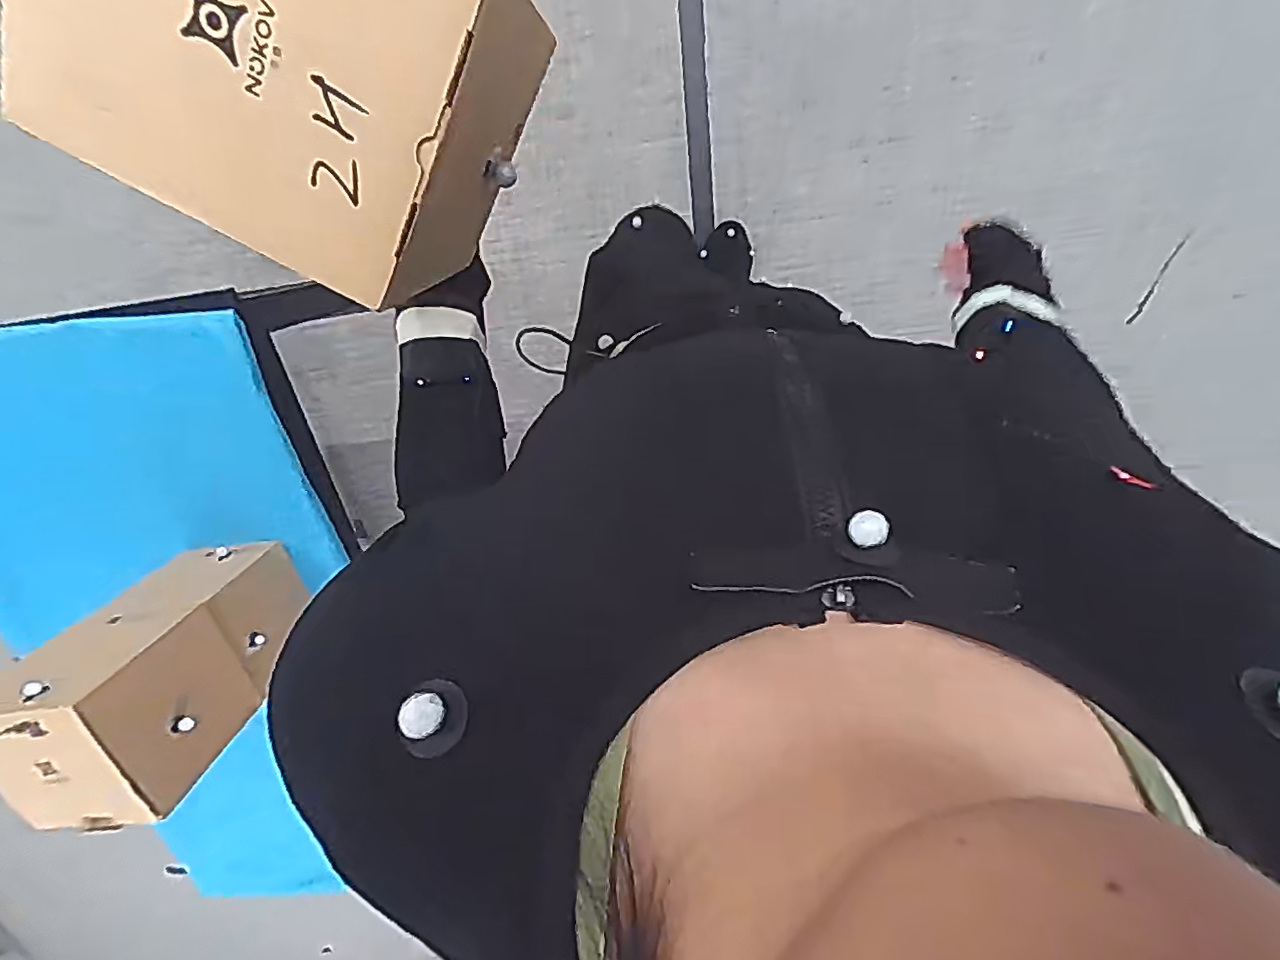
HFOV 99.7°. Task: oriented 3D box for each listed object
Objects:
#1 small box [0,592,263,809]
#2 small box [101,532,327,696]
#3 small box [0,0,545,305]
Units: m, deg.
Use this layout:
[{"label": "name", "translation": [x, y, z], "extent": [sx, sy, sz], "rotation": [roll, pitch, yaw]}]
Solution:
[{"label": "small box", "translation": [-0.615, 0.262, 0.657], "extent": [0.168, 0.176, 0.179], "rotation": [-10, 114, 8]}, {"label": "small box", "translation": [-0.612, 0.199, 0.807], "extent": [0.168, 0.176, 0.179], "rotation": [-6, 116, 6]}, {"label": "small box", "translation": [-0.173, -0.230, 0.300], "extent": [0.179, 0.176, 0.168], "rotation": [29, 117, -18]}]
